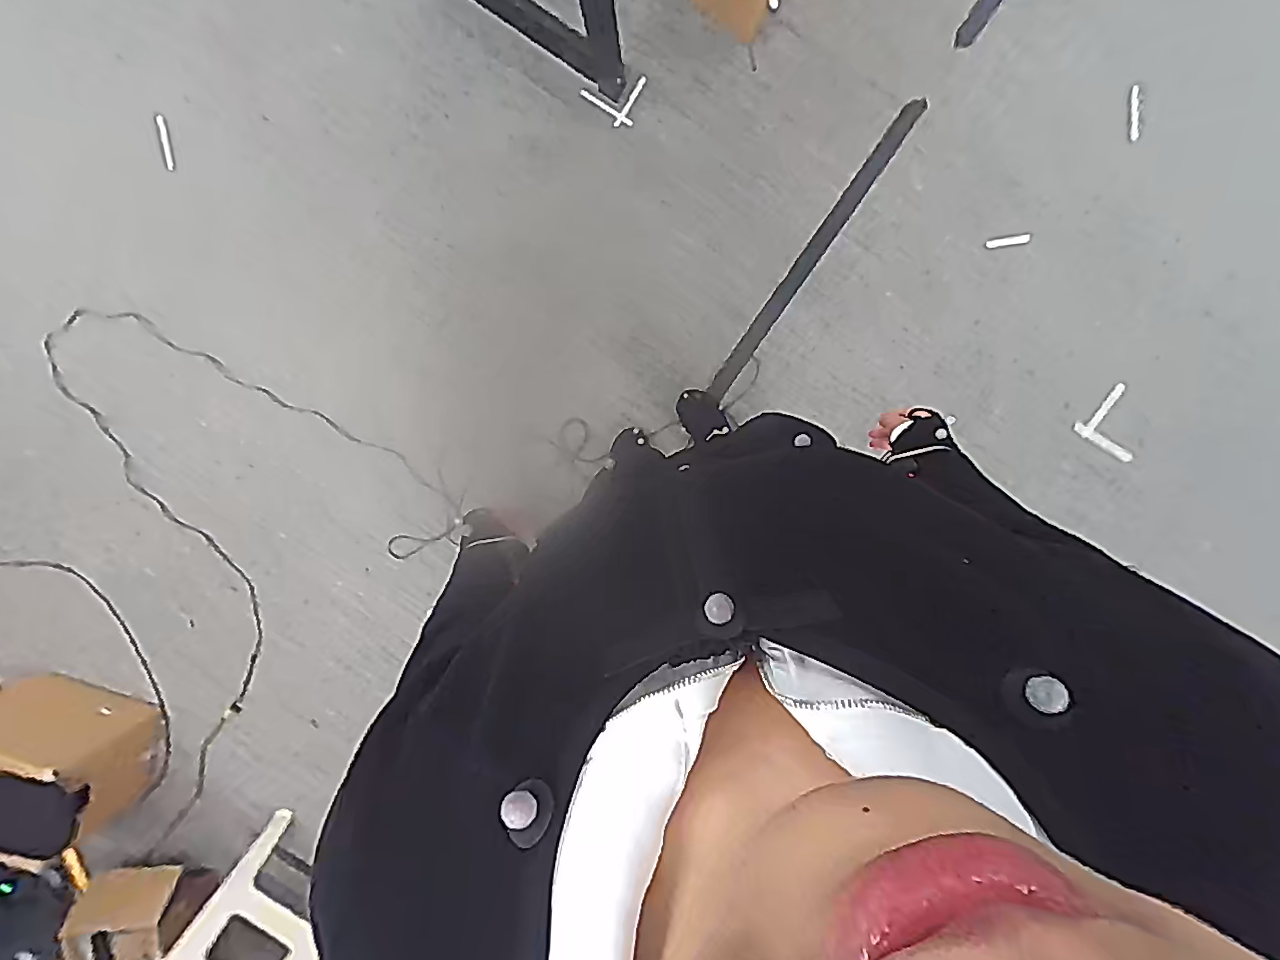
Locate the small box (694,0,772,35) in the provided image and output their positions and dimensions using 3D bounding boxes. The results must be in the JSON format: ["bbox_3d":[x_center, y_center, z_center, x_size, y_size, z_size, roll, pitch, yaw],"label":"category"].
[{"bbox_3d":[0.233,-1.187,1.241,0.179,0.176,0.168,33,99,-3],"label":"small box"}]
